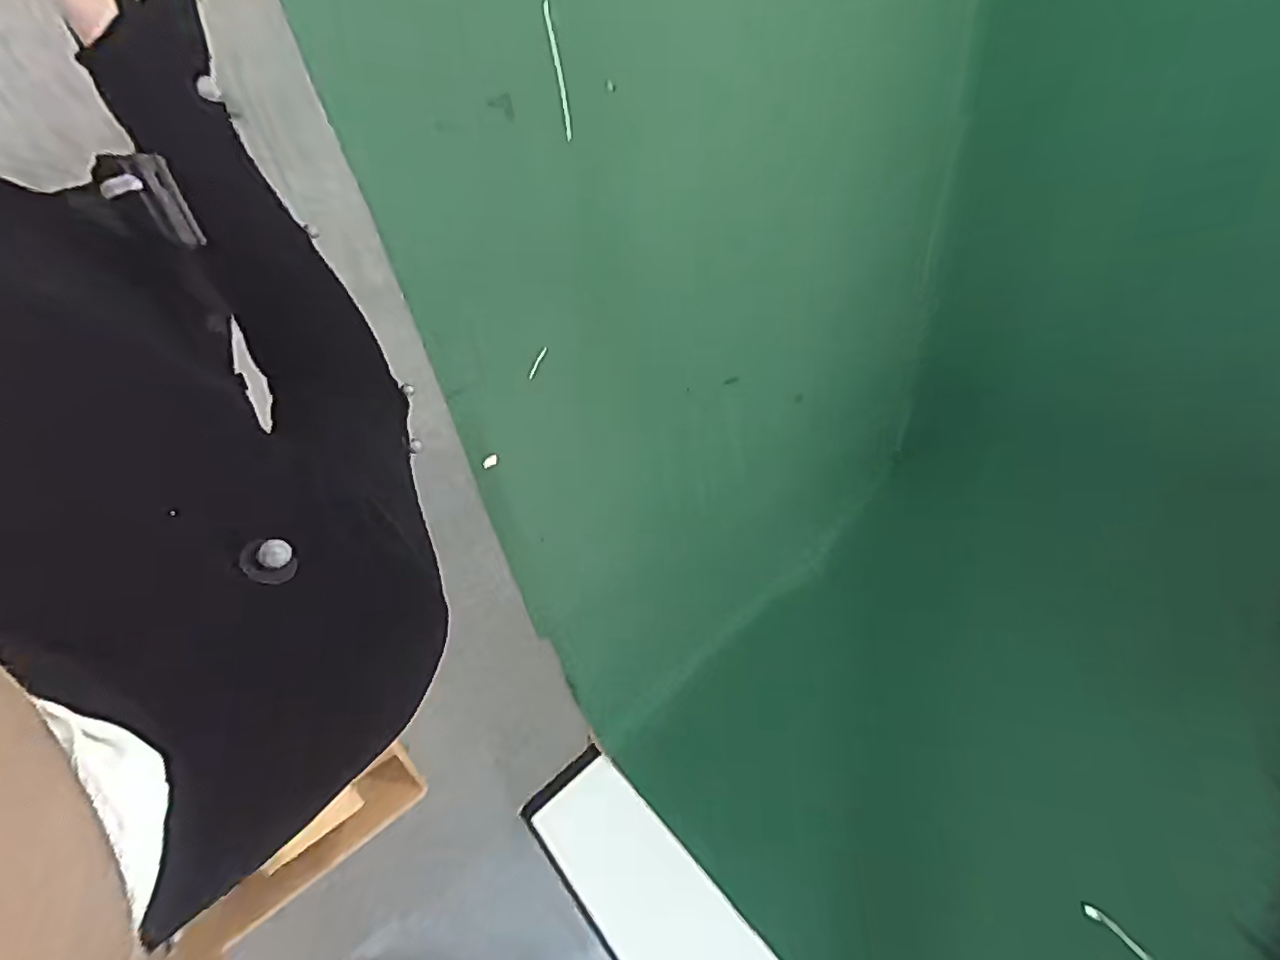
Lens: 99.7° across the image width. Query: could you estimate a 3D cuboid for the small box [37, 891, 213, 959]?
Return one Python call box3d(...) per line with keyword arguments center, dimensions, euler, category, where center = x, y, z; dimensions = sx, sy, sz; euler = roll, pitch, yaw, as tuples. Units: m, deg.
box3d(center=(-0.747, 0.741, 0.768), dimensions=(0.179, 0.176, 0.168), euler=(-34, 132, -25), category="small box")
